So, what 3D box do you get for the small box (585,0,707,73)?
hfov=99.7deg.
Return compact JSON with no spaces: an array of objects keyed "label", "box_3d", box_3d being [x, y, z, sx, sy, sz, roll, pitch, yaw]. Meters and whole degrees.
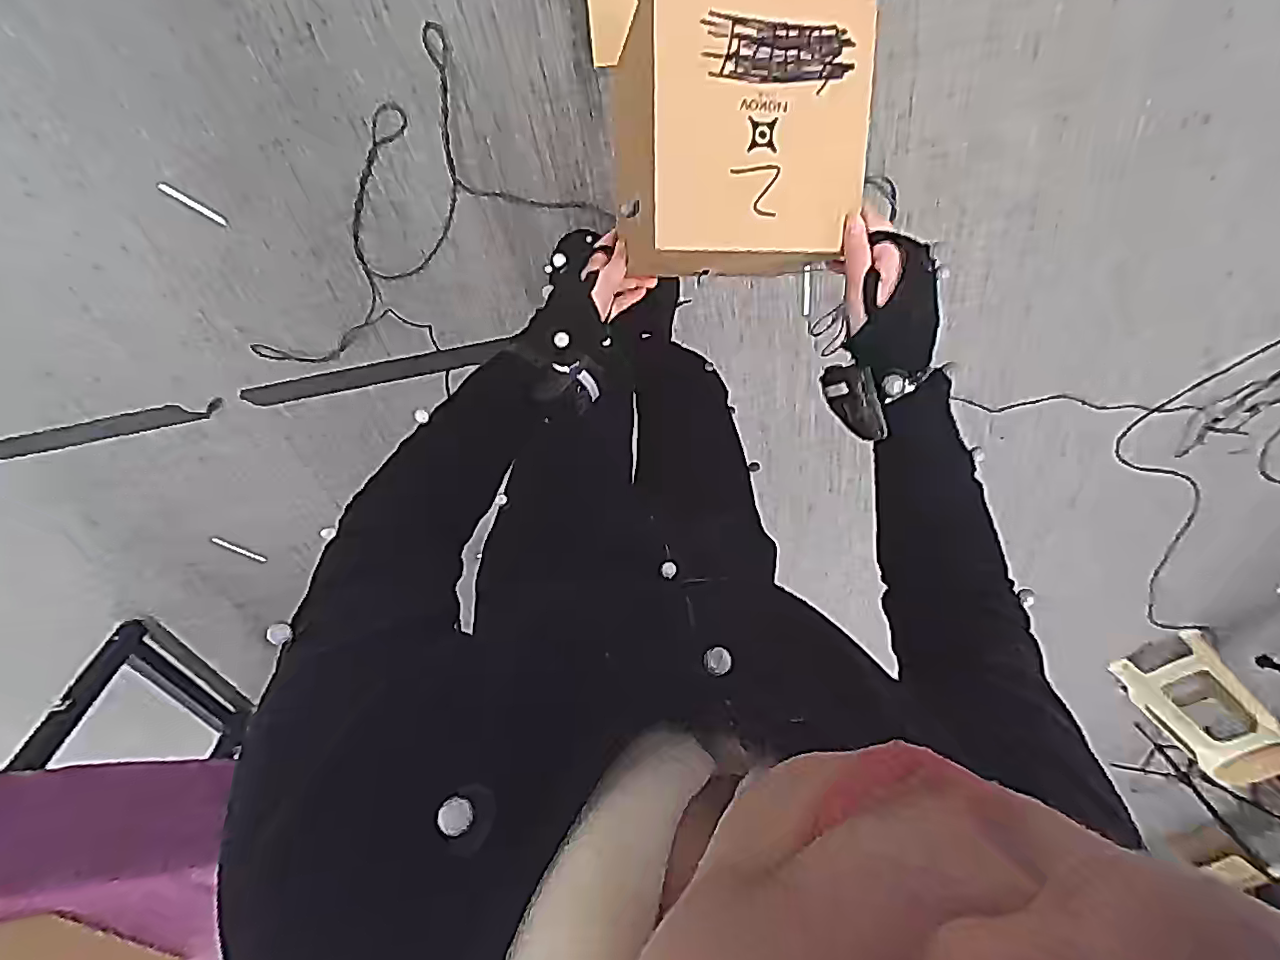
[{"label":"small box","box_3d":[0.003,-0.735,0.828,0.179,0.176,0.168,-7,126,-2]}]
